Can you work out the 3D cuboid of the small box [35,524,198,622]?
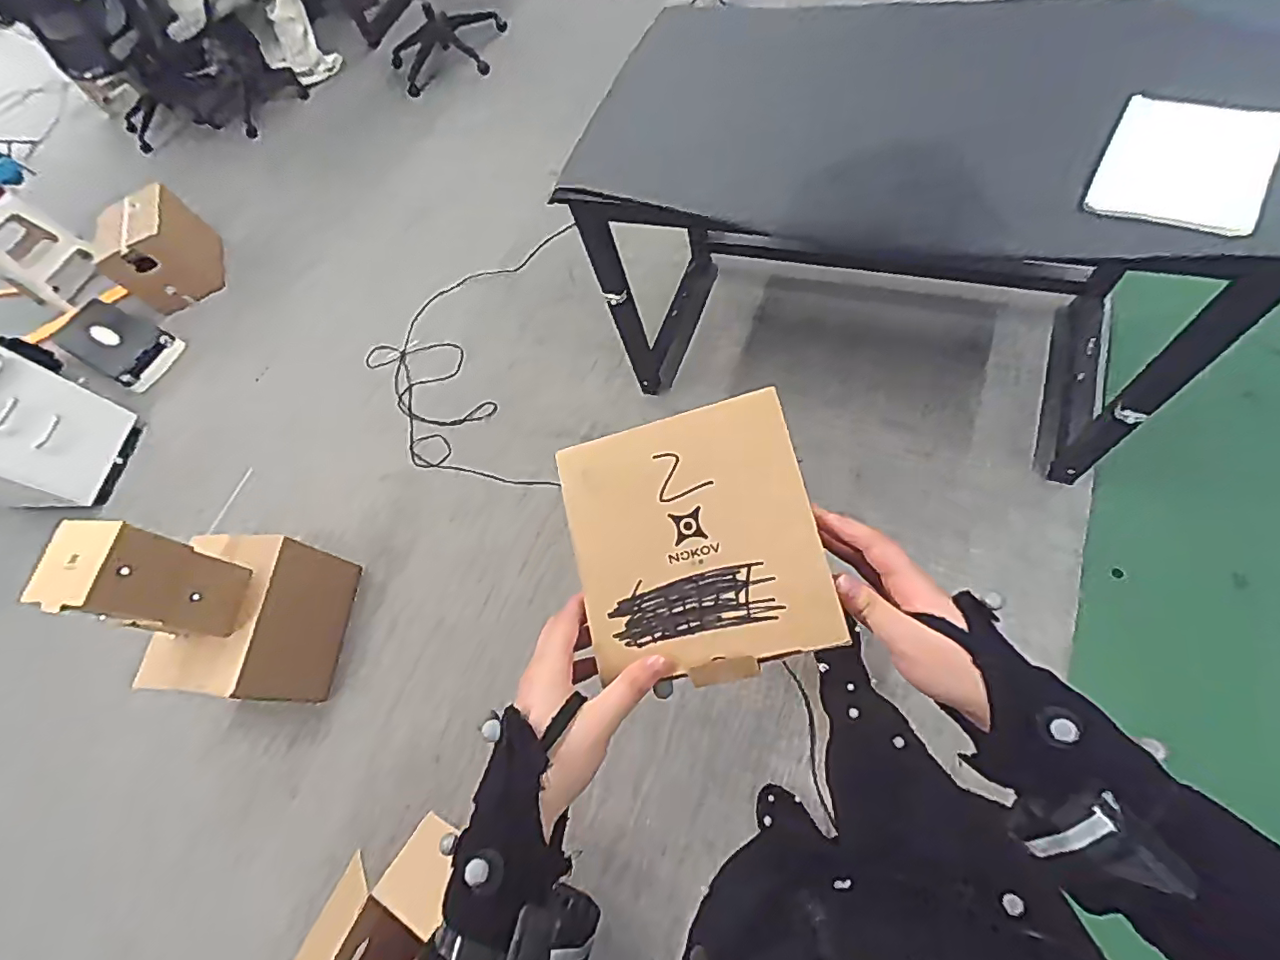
[{"bbox_3d":[-1.130,0.207,1.188,0.168,0.176,0.179,-1,66,12],"label":"small box"}]

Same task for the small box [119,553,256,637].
[{"bbox_3d":[-1.097,0.285,1.327,0.168,0.176,0.179,-1,65,13],"label":"small box"}]
